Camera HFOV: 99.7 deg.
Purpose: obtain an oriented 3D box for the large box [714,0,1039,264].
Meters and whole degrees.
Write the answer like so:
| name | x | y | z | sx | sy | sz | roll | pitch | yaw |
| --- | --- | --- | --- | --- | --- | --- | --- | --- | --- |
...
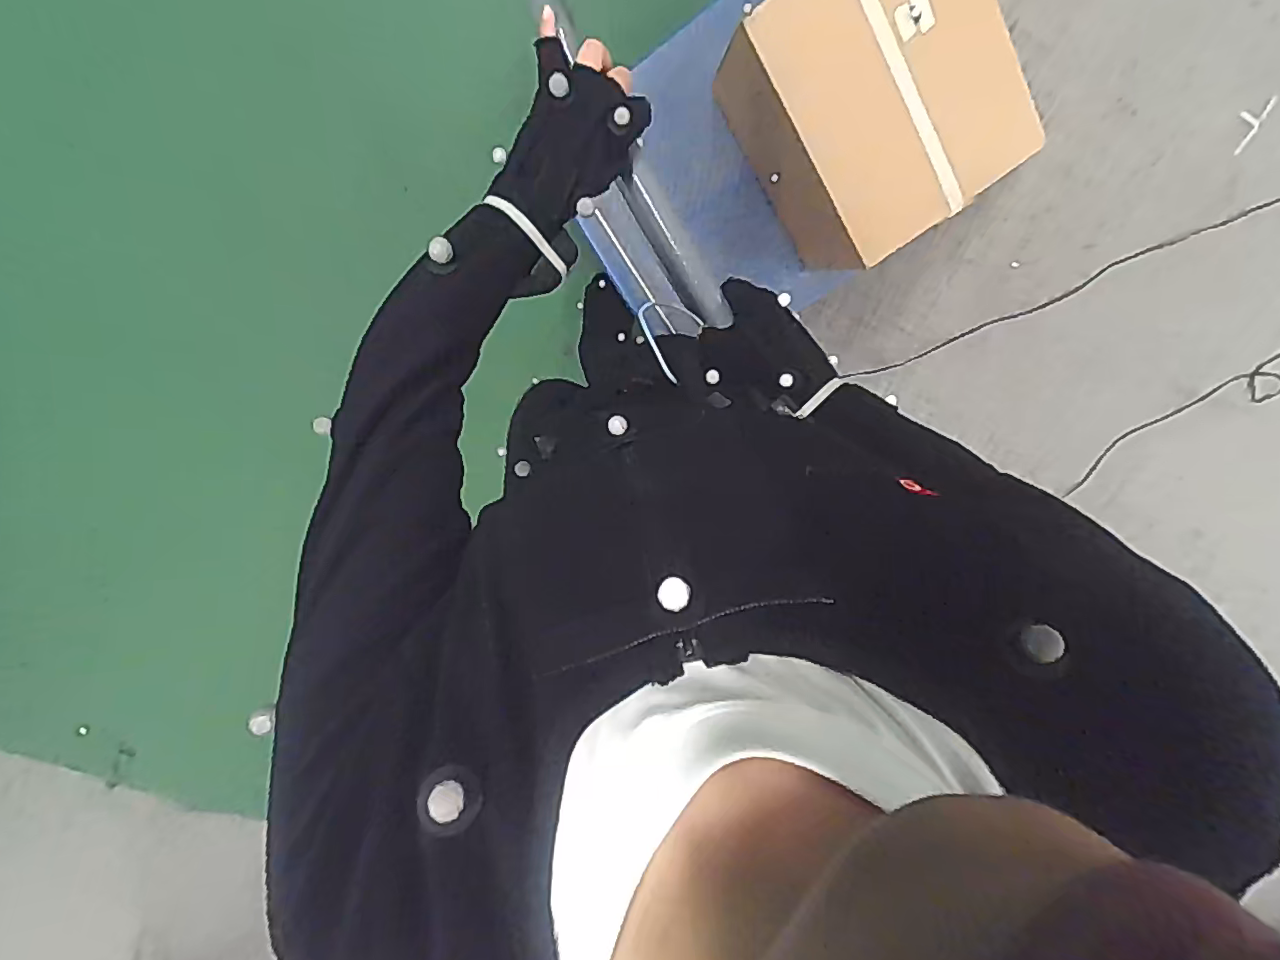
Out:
| name | x | y | z | sx | sy | sz | roll | pitch | yaw |
| --- | --- | --- | --- | --- | --- | --- | --- | --- | --- |
| large box | 0.378 | -0.643 | 0.943 | 0.320 | 0.320 | 0.408 | -34 | 108 | 10 |
